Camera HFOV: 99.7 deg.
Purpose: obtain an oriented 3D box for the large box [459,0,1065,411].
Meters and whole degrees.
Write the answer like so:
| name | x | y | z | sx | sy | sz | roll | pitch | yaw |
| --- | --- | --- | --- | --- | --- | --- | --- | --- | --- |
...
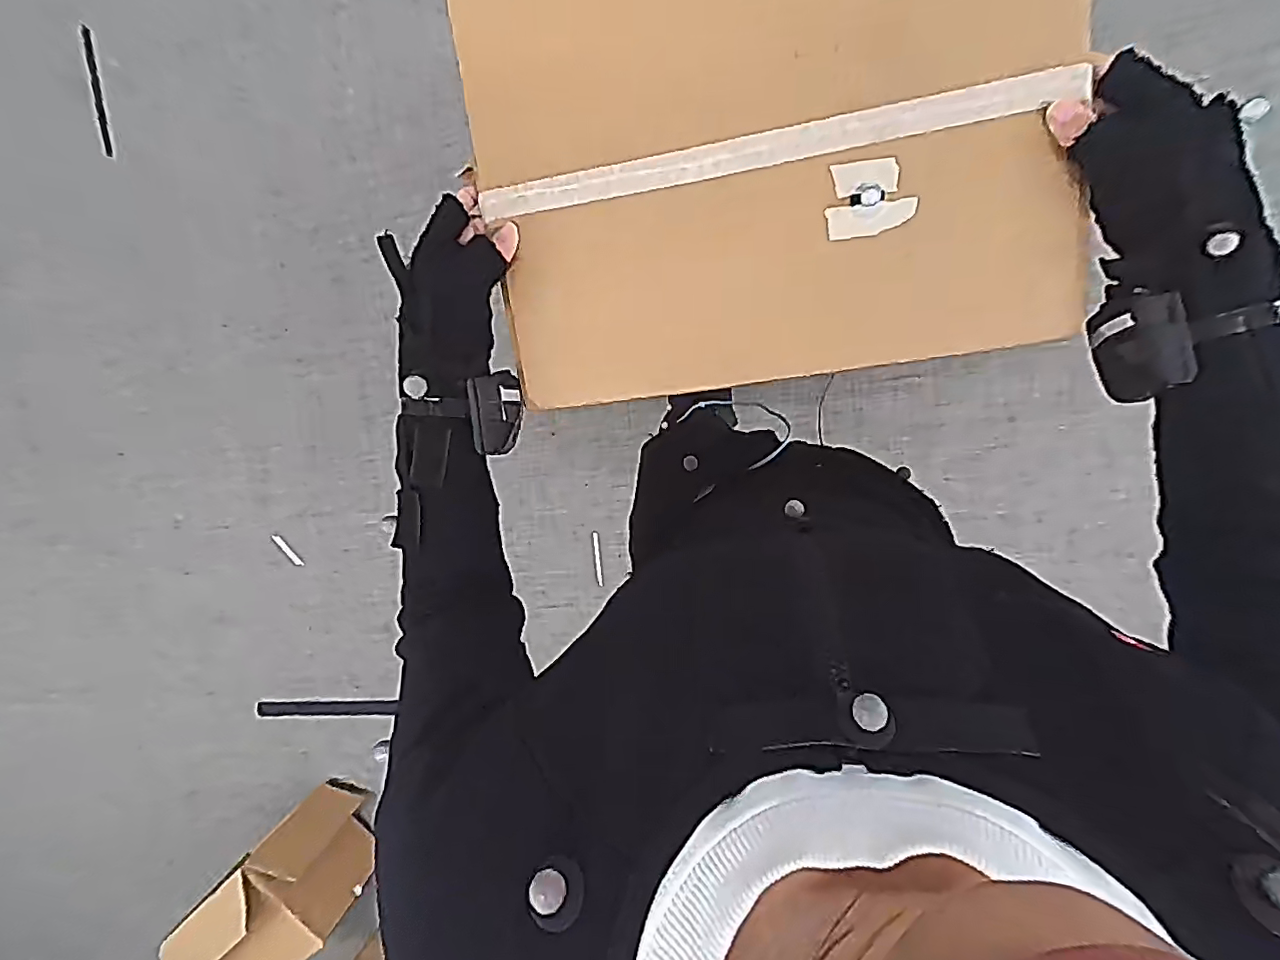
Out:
| name | x | y | z | sx | sy | sz | roll | pitch | yaw |
| --- | --- | --- | --- | --- | --- | --- | --- | --- | --- |
| large box | 0.102 | -0.262 | 0.532 | 0.408 | 0.320 | 0.320 | -7 | 102 | 9 |
